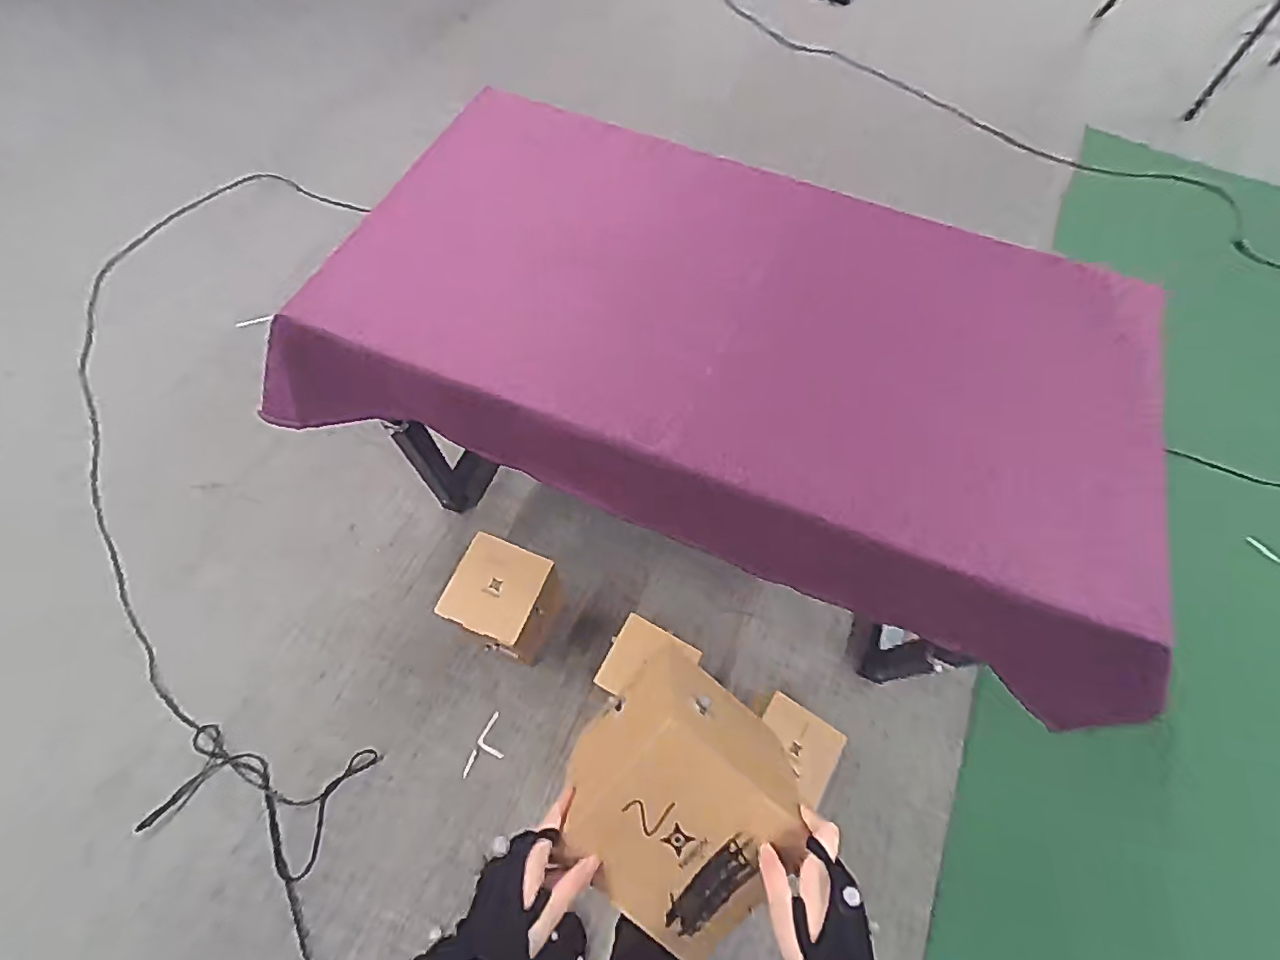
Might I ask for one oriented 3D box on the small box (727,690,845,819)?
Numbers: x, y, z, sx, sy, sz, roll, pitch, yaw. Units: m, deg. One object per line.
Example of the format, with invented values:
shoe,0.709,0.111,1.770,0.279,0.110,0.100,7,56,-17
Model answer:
small box,0.298,0.574,1.144,0.168,0.176,0.179,32,67,11
